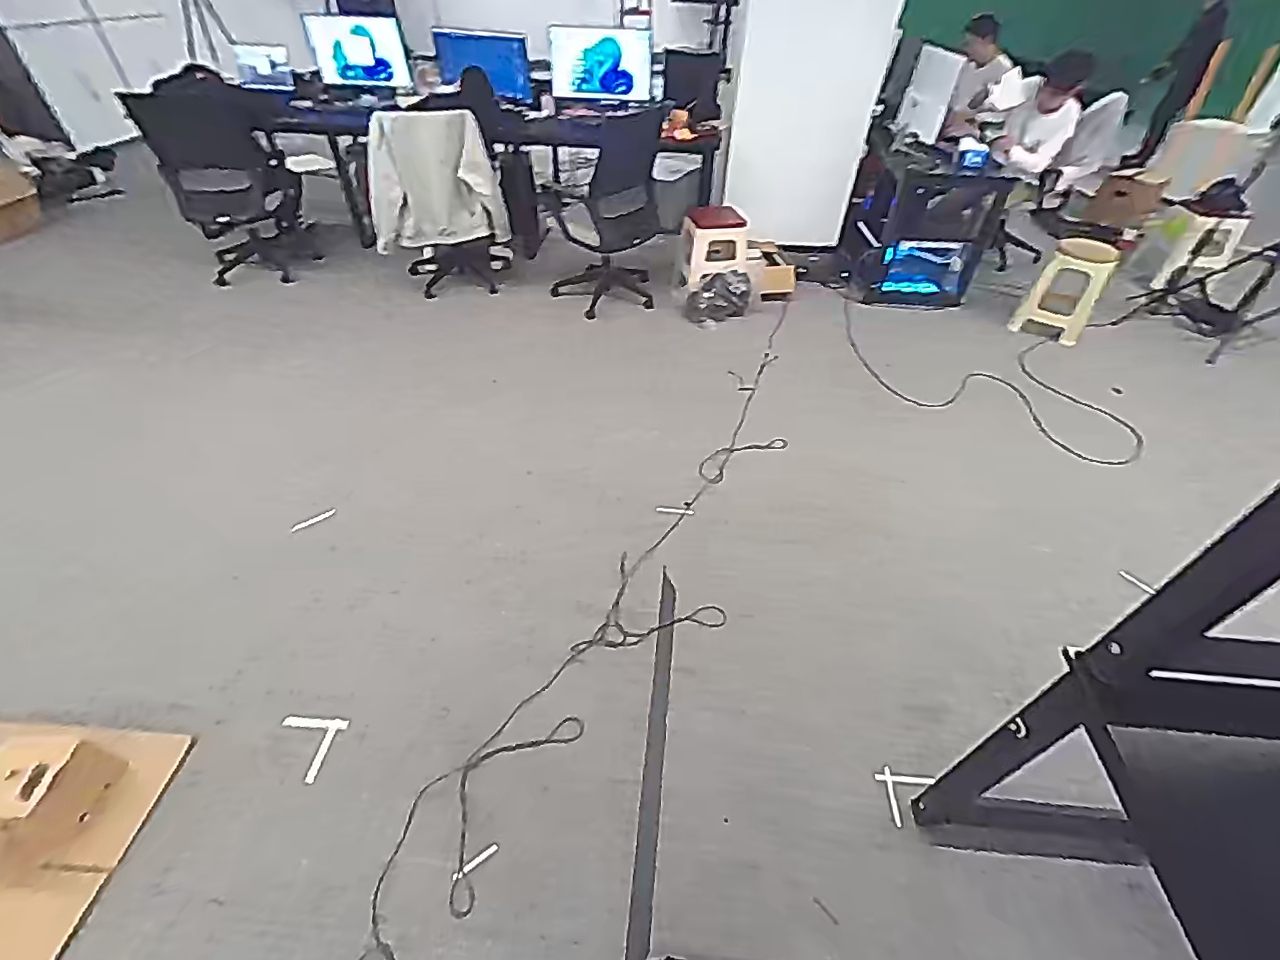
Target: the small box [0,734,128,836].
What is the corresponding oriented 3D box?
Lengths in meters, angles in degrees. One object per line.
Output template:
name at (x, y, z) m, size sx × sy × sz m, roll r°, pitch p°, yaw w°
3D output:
small box at (-1.363, 0.705, 1.249) m, size 0.179 × 0.176 × 0.168 m, roll 1°, pitch 44°, yaw 0°
